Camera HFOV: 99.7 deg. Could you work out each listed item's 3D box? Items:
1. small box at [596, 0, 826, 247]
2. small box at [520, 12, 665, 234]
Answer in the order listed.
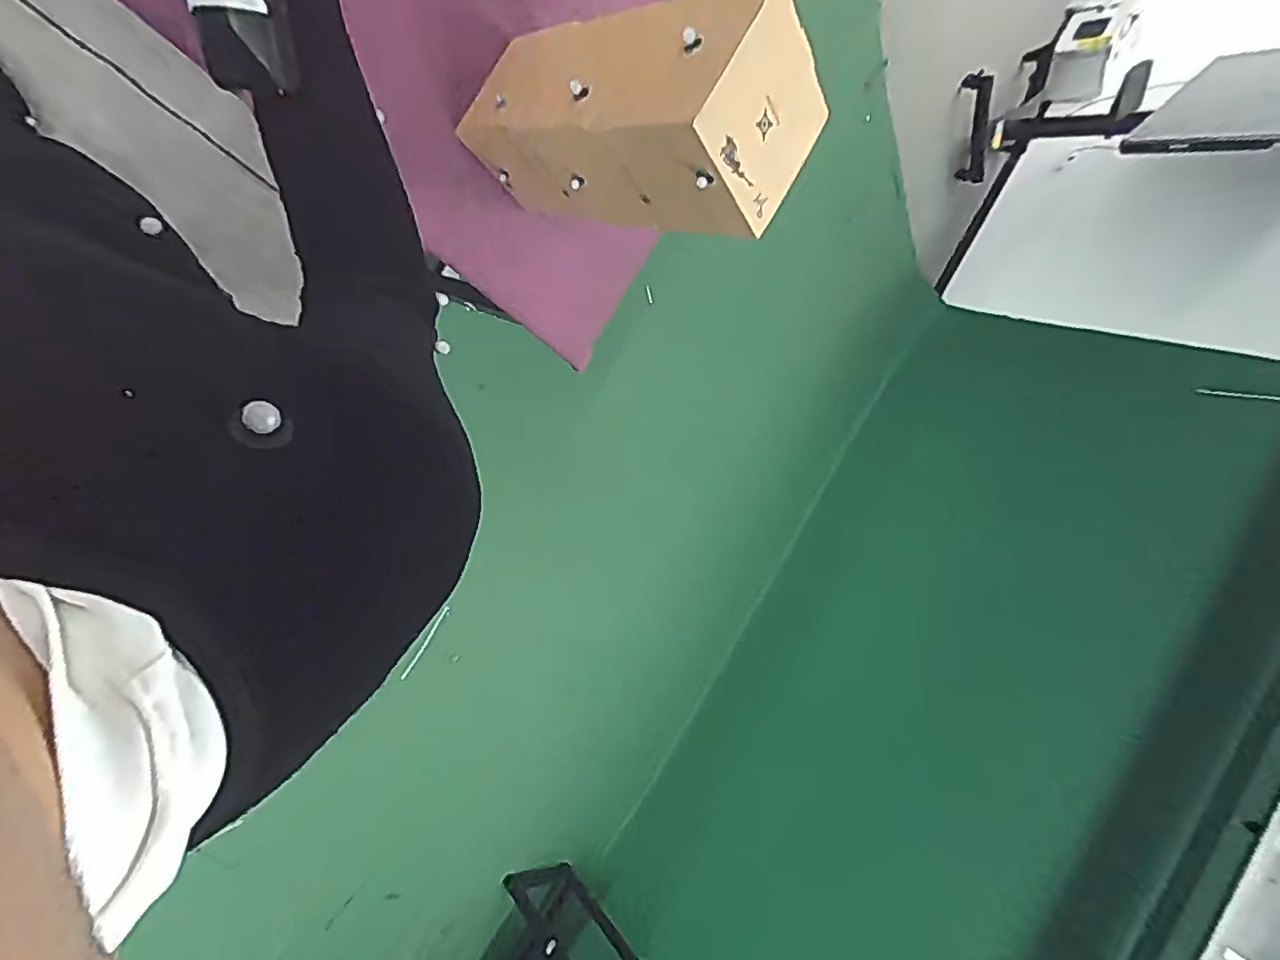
[{"bbox_3d":[0.080,-0.401,0.623,0.168,0.176,0.179,32,87,-50],"label":"small box"},{"bbox_3d":[-0.034,-0.462,0.724,0.168,0.176,0.179,35,85,-51],"label":"small box"}]
